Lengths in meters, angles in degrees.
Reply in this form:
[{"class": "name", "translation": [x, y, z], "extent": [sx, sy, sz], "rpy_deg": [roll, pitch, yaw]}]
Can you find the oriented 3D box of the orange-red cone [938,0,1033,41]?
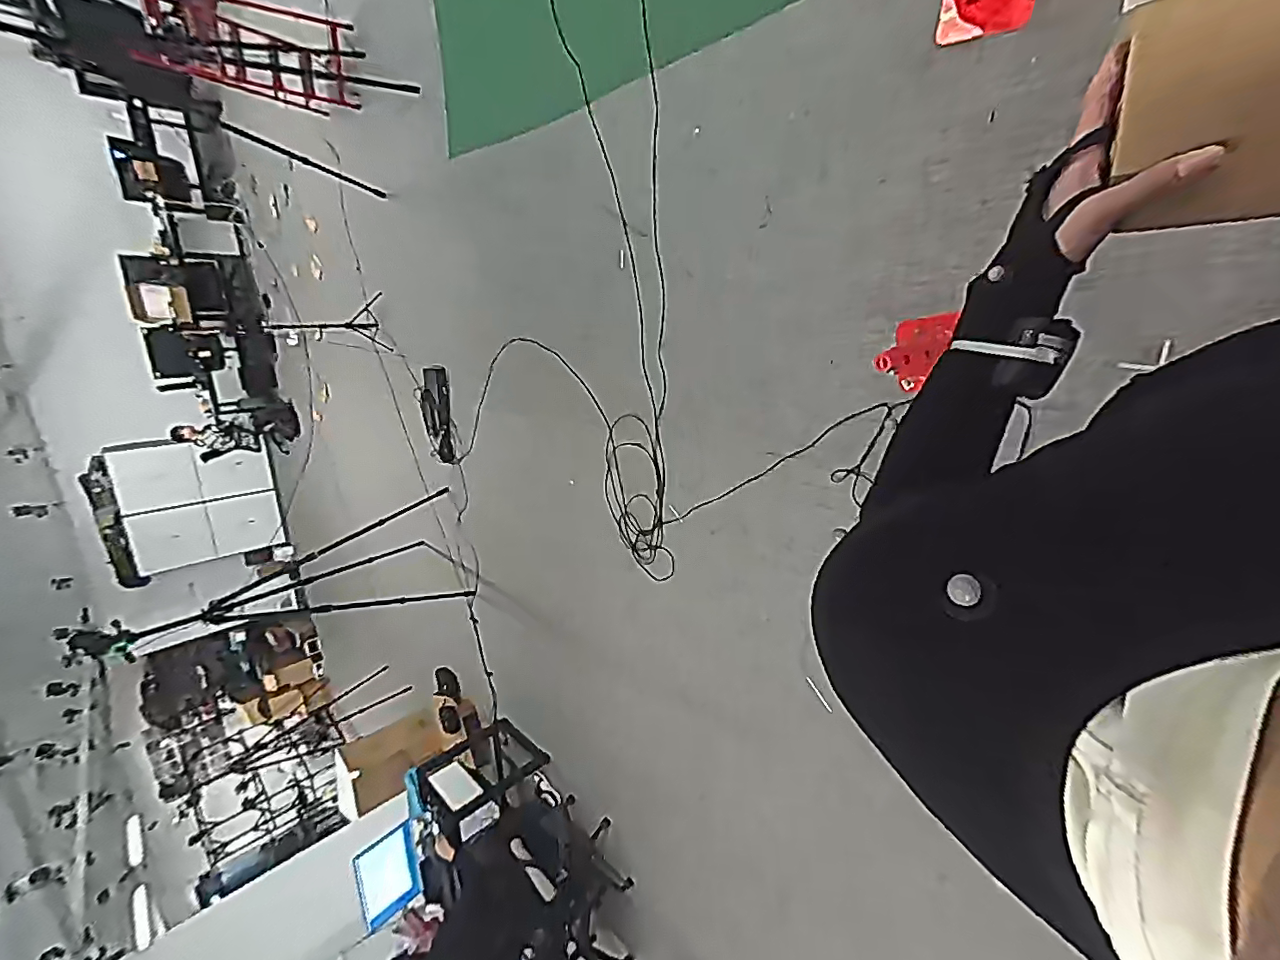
[{"class": "orange-red cone", "translation": [0.681, -1.106, 1.125], "extent": [0.199, 0.360, 0.198], "rpy_deg": [24, 118, 42]}]
